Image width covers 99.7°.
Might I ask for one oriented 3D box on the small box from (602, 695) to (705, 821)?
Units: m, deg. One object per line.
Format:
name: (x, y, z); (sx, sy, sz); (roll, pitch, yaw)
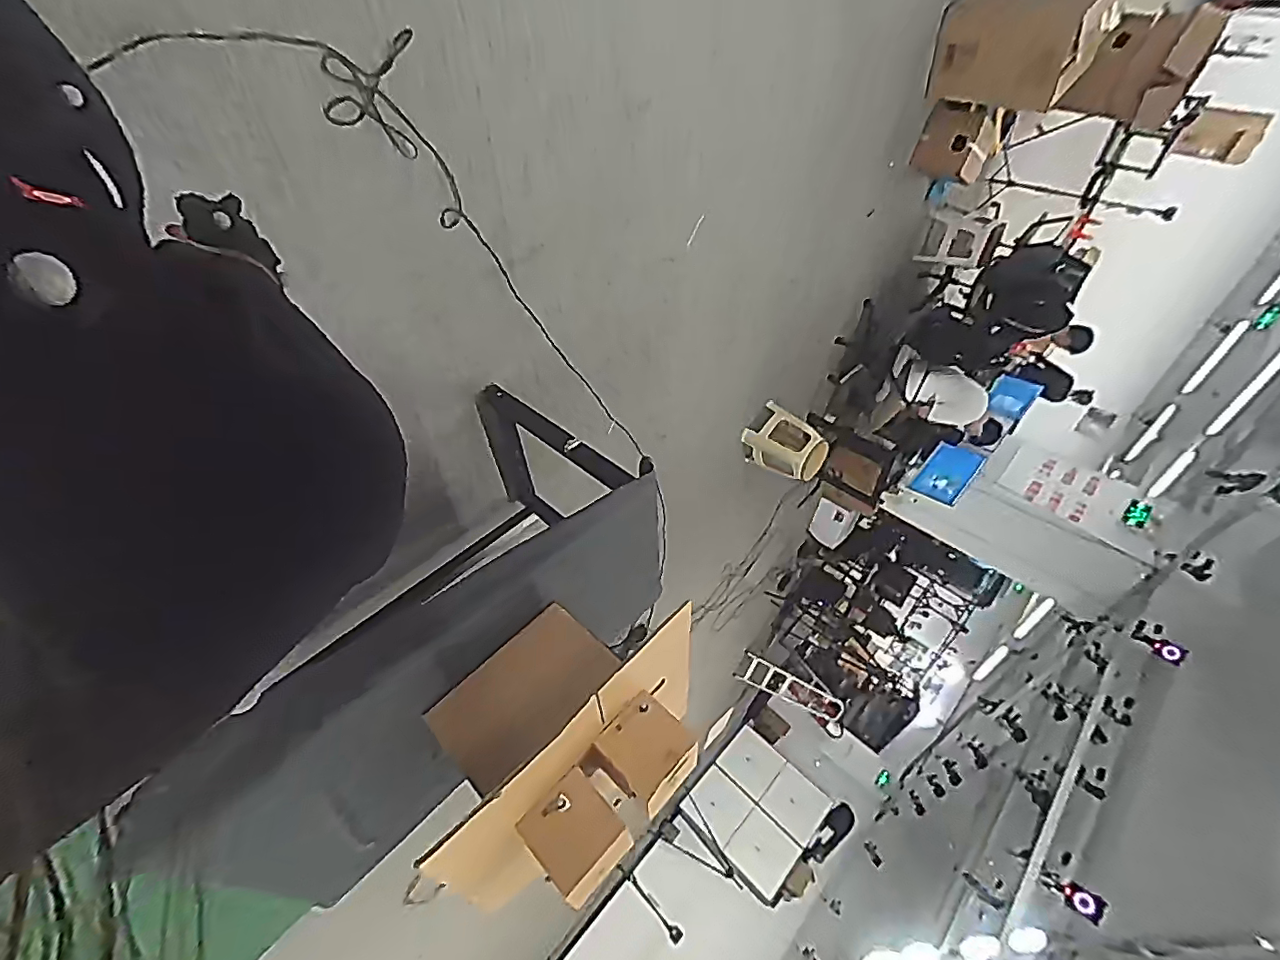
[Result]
small box: (0.029, 0.624, 1.230); (0.168, 0.176, 0.179); (-38, 145, -28)
